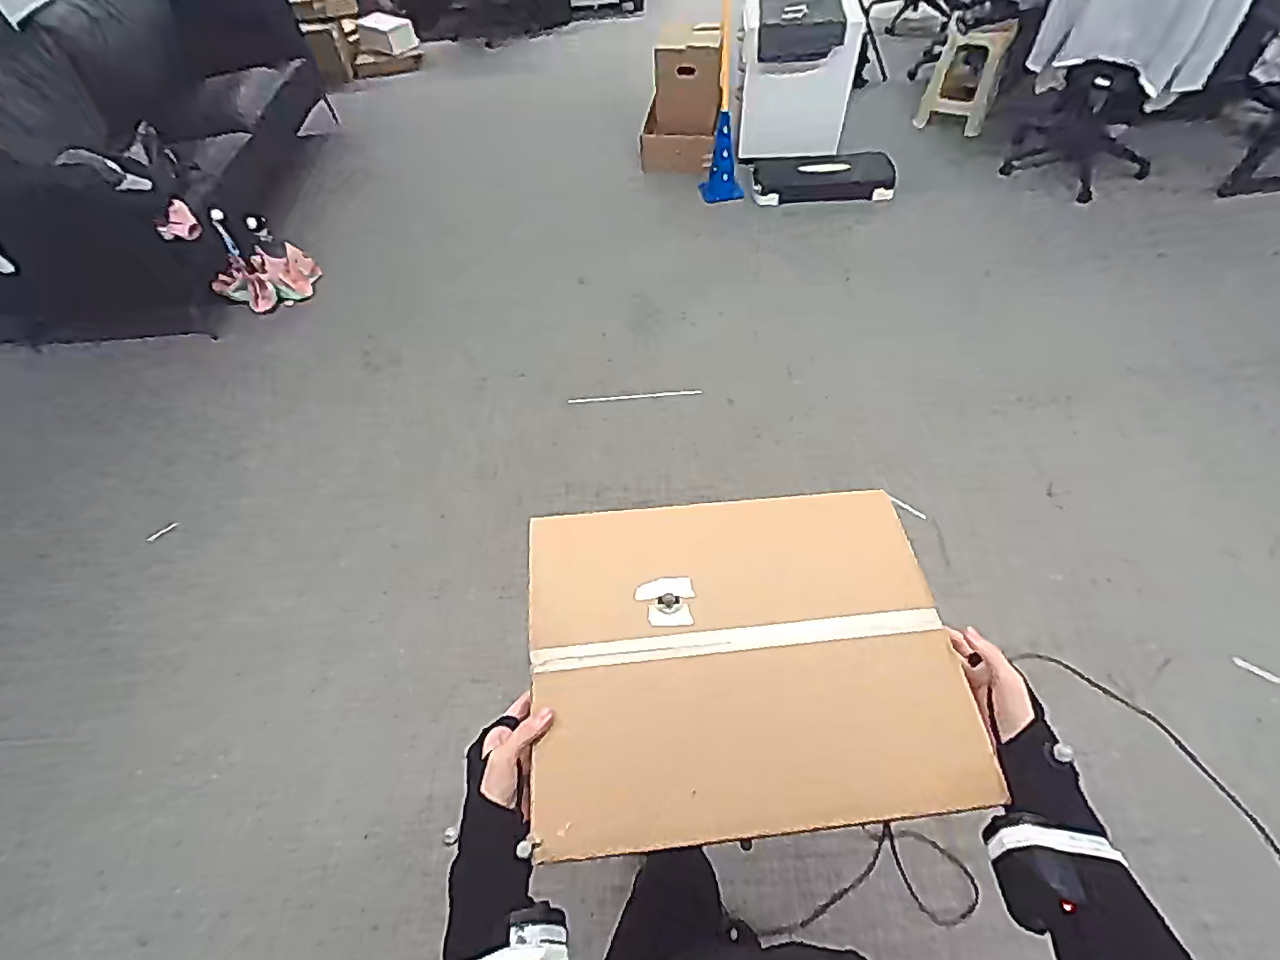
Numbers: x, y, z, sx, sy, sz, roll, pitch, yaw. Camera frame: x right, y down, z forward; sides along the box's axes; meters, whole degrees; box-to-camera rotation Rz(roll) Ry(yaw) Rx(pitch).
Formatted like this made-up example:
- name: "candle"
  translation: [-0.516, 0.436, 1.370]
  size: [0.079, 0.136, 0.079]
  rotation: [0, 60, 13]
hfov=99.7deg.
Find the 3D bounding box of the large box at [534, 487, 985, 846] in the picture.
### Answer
- name: "large box"
  translation: [0.098, 0.235, 0.671]
  size: [0.408, 0.320, 0.320]
  rotation: [-6, 57, -3]
